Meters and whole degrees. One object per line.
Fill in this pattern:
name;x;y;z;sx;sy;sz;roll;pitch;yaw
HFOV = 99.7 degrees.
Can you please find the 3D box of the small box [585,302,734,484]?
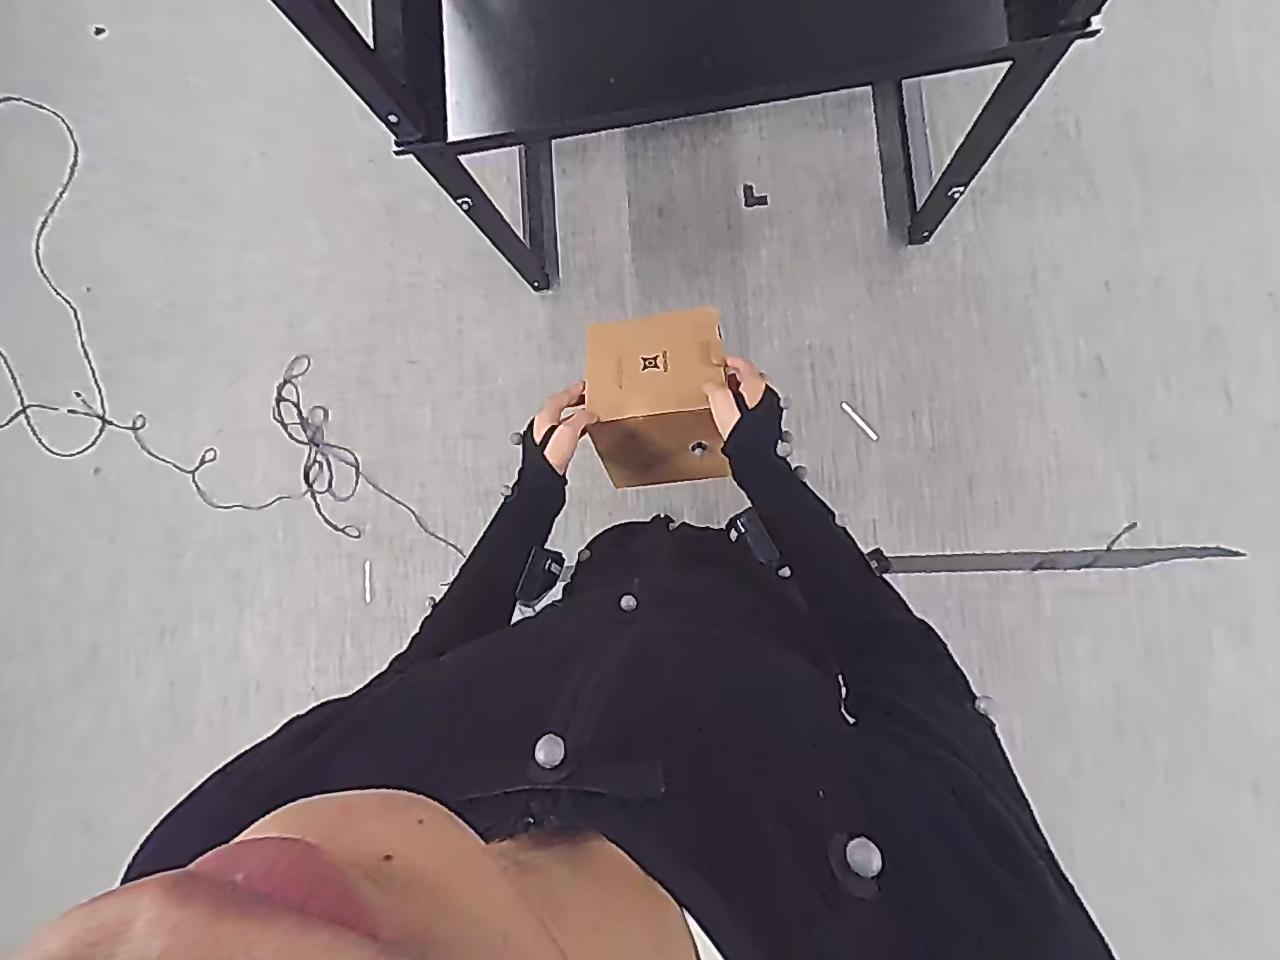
small box;0.031;-0.109;0.729;0.179;0.176;0.168;-6;60;8
